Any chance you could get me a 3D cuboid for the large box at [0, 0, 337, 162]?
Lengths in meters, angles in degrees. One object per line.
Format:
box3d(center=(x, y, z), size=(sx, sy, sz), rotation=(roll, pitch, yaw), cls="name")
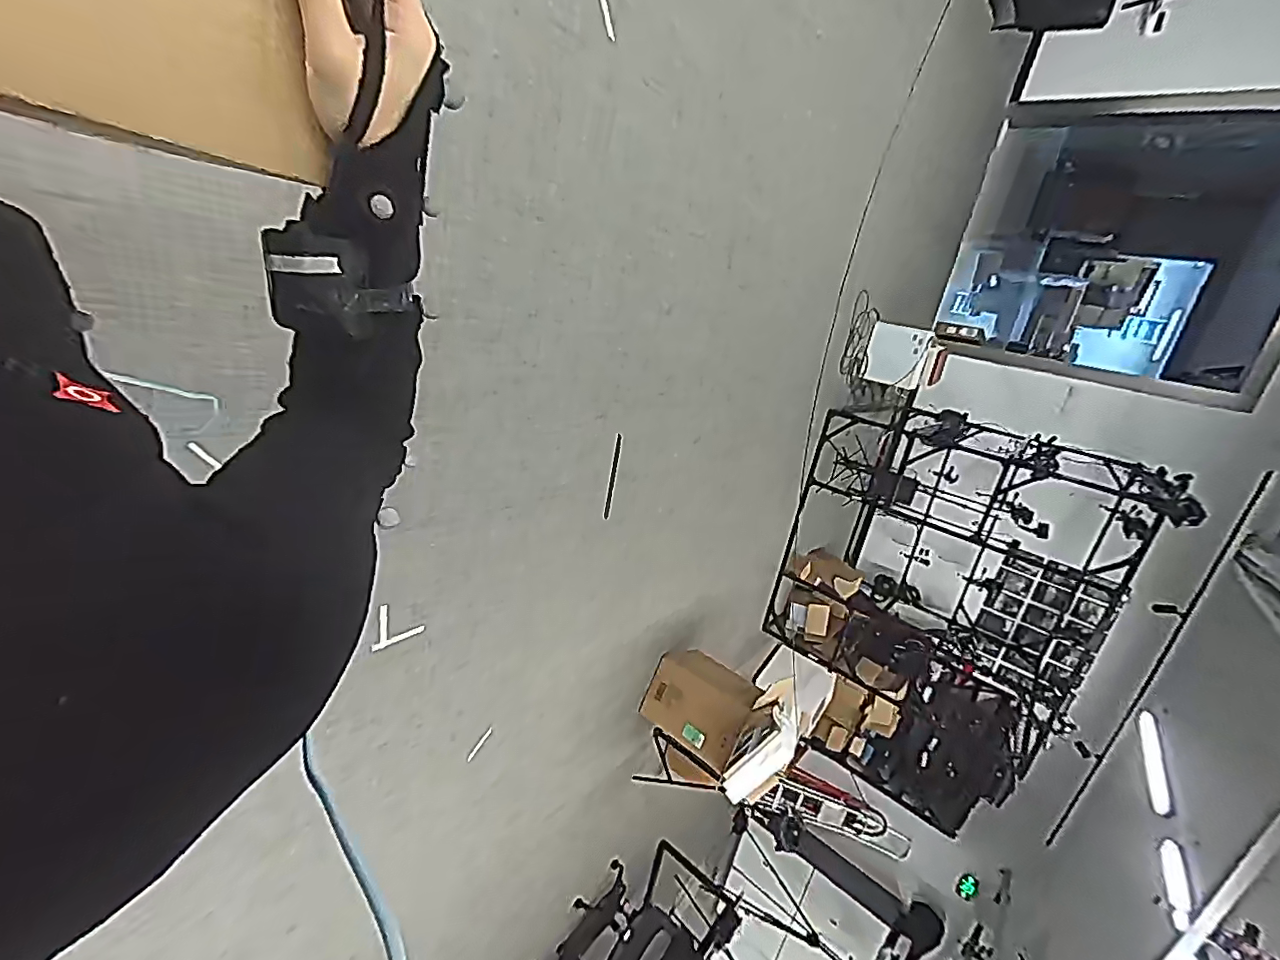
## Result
box3d(center=(-0.378, -0.346, 0.175), size=(0.408, 0.320, 0.320), rotation=(-17, 127, -56), cls="large box")
